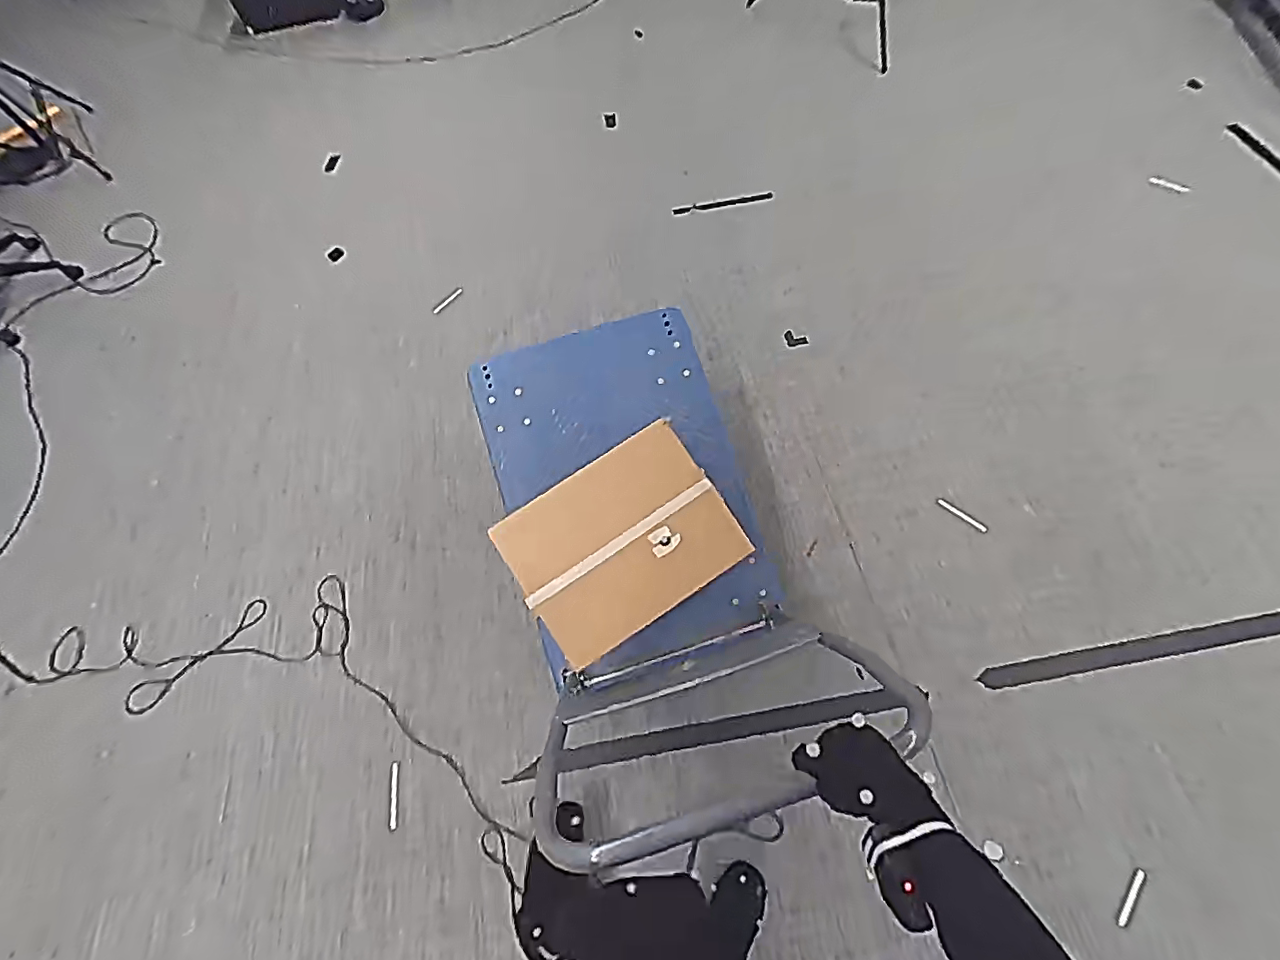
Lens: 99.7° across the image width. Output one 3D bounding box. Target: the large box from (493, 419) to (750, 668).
[{"bbox_3d":[-0.039,0.139,1.170,0.408,0.320,0.320,-34,84,-7],"label":"large box"}]
